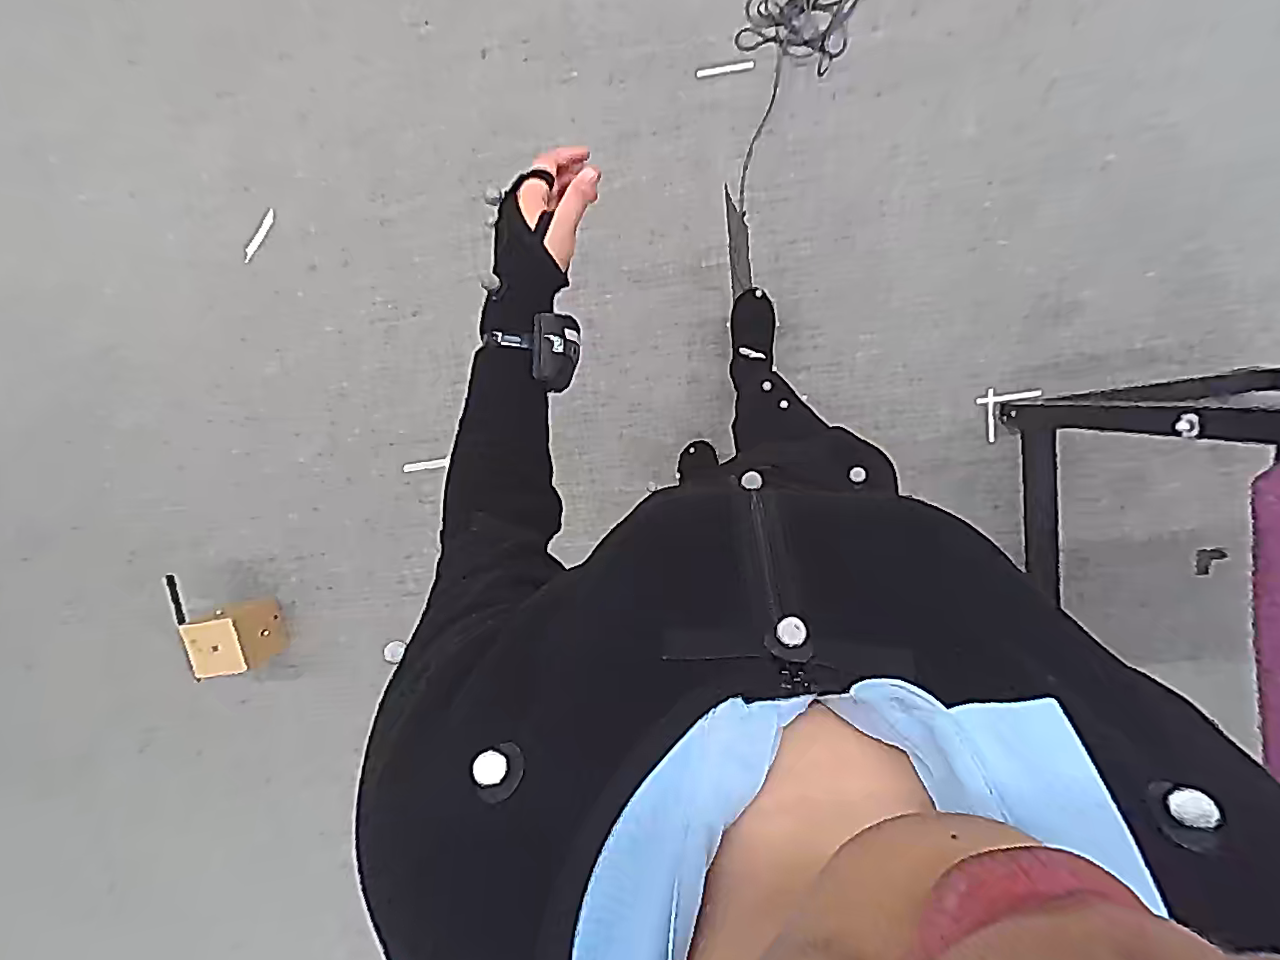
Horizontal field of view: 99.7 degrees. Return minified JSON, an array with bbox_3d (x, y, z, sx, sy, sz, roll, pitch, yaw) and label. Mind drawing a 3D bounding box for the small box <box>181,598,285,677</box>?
[{"bbox_3d":[-1.210,0.467,1.626,0.179,0.176,0.168,-9,98,8],"label":"small box"}]
